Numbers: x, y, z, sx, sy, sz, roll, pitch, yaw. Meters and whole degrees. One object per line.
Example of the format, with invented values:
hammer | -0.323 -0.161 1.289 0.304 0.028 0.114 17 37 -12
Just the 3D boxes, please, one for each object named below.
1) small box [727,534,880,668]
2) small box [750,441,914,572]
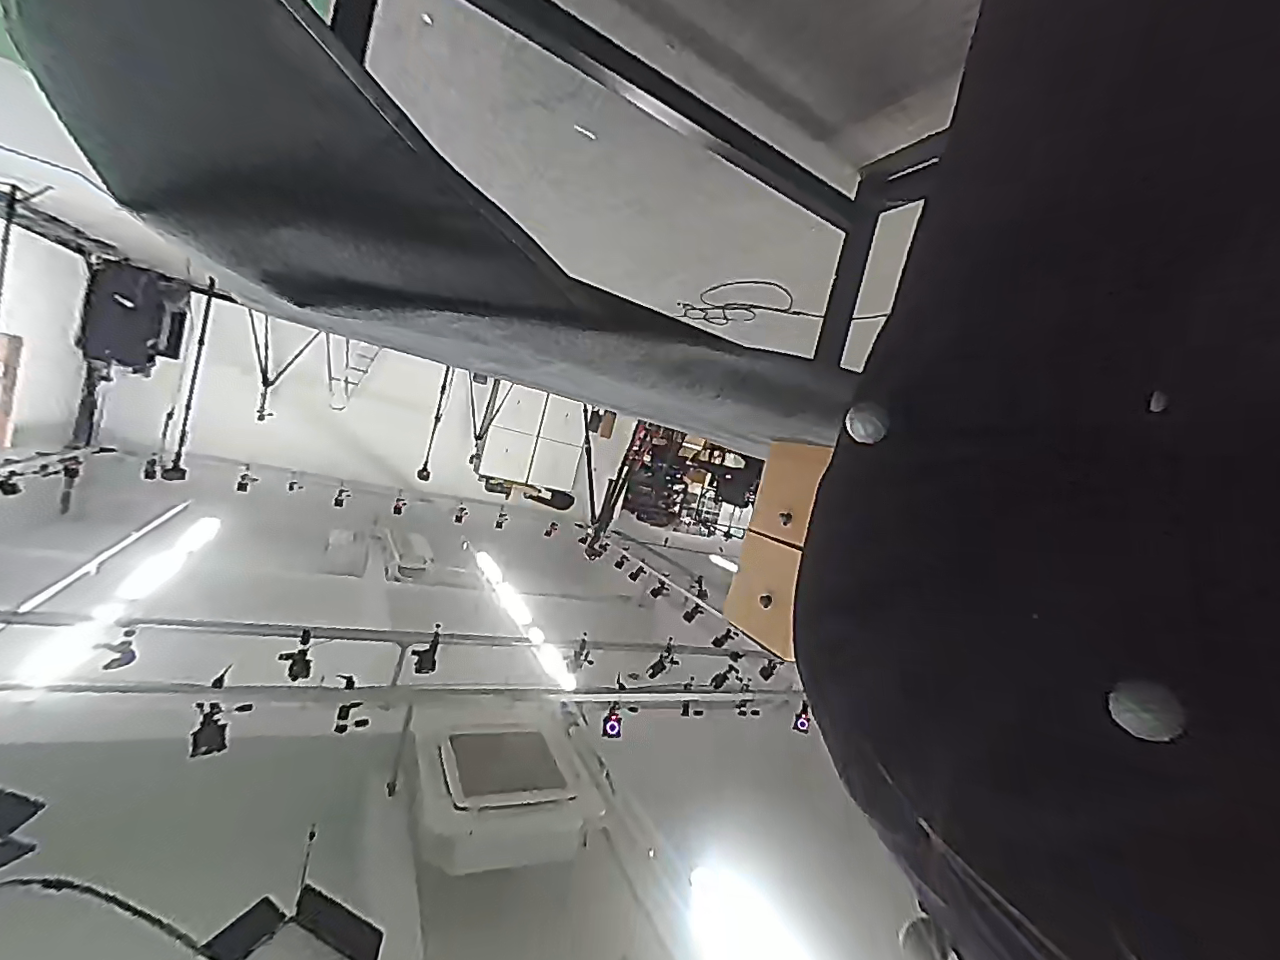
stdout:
small box | 0.273 0.194 0.902 0.168 0.176 0.179 14 -179 -24
small box | 0.317 0.037 0.901 0.168 0.176 0.179 14 -178 -26
